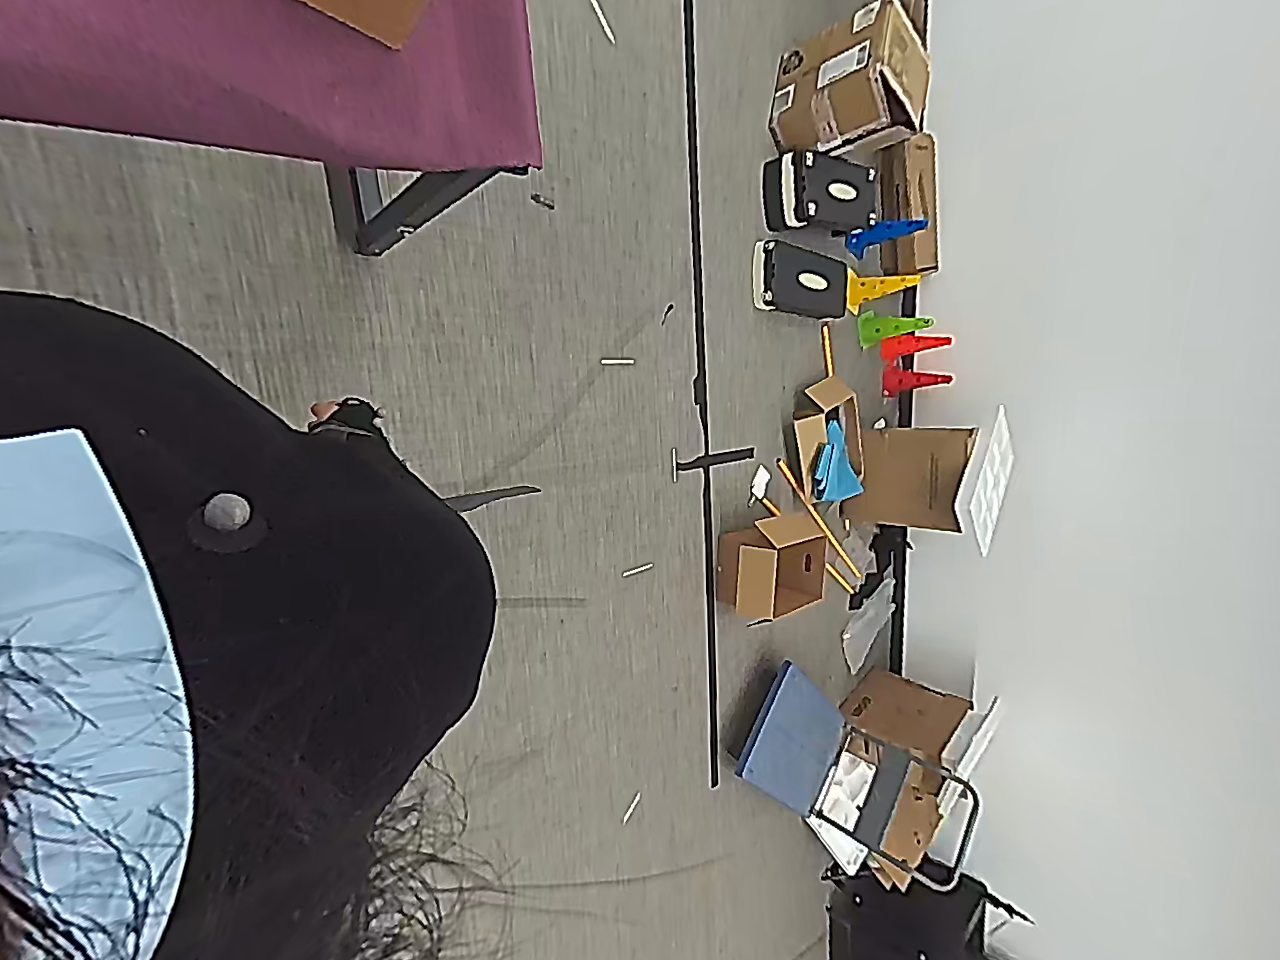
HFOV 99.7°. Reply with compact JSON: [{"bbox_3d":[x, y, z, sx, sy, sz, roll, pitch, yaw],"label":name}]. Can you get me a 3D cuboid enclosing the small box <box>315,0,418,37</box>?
[{"bbox_3d":[-0.325,-0.640,0.586,0.179,0.176,0.168,0,96,-42],"label":"small box"}]
